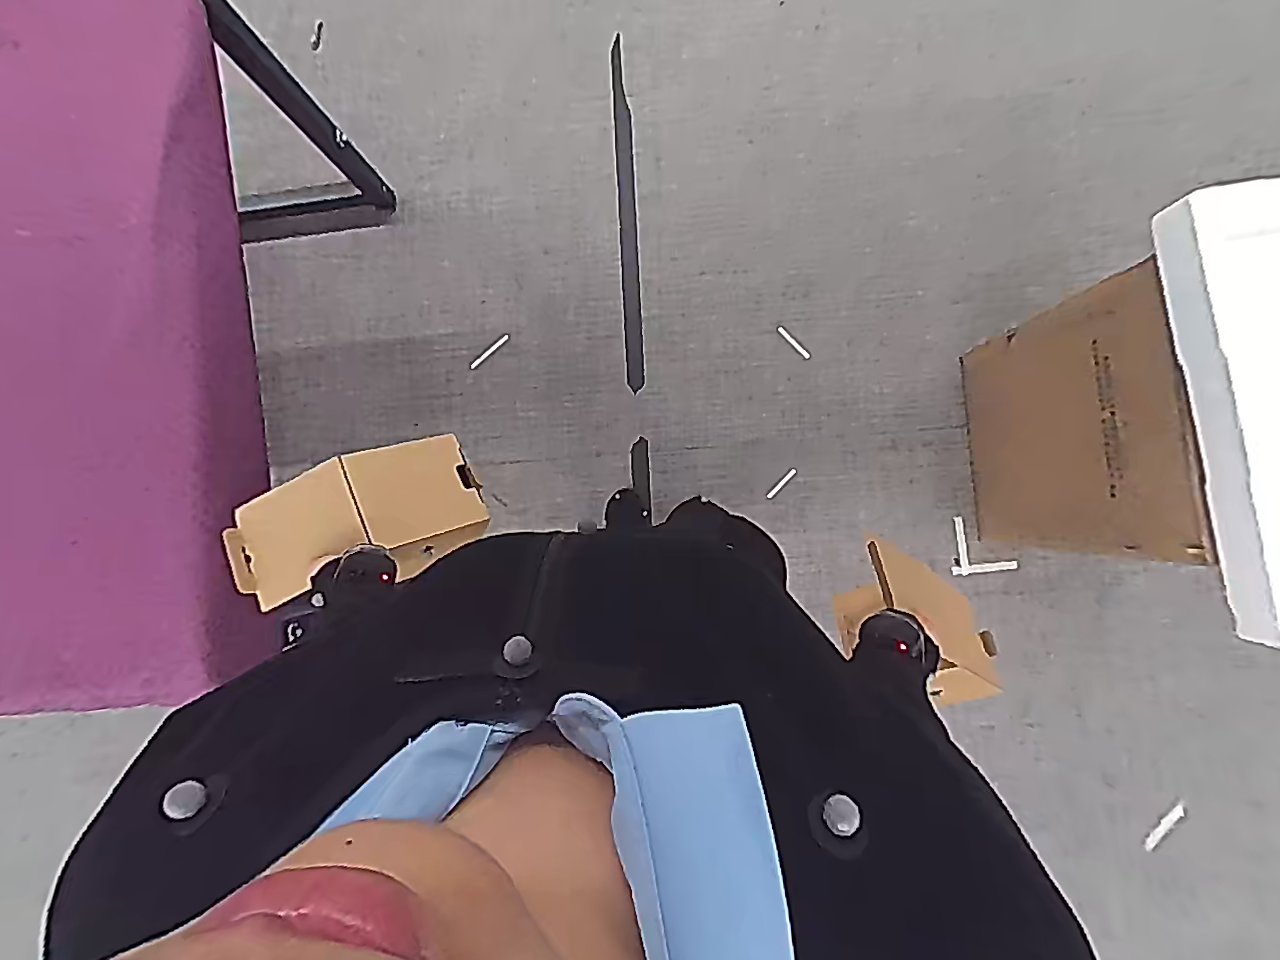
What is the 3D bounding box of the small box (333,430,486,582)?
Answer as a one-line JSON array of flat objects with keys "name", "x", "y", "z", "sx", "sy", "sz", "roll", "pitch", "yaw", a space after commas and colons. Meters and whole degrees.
[{"name": "small box", "x": -0.371, "y": 0.045, "z": 0.867, "sx": 0.179, "sy": 0.176, "sz": 0.168, "roll": -17, "pitch": 73, "yaw": -35}]
